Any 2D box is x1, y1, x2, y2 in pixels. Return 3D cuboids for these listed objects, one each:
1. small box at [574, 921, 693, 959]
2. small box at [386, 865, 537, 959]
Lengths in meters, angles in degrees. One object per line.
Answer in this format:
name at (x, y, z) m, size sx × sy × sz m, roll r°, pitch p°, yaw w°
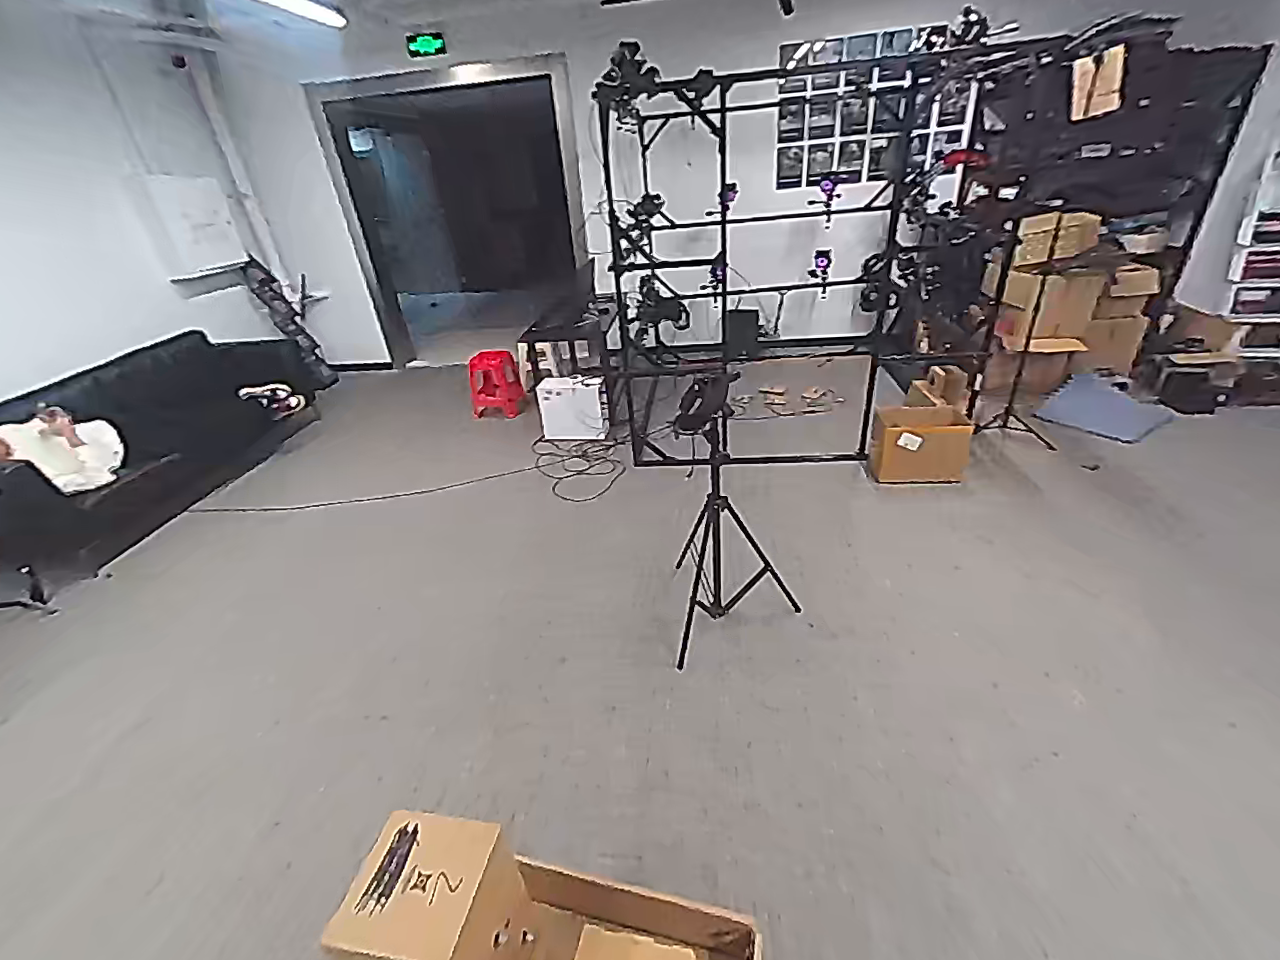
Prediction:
small box at (-0.016, 0.763, 0.740) m, size 0.168 × 0.176 × 0.179 m, roll 3°, pitch 30°, yaw 14°
small box at (-0.267, 0.736, 0.825) m, size 0.168 × 0.176 × 0.179 m, roll -1°, pitch 30°, yaw 12°
